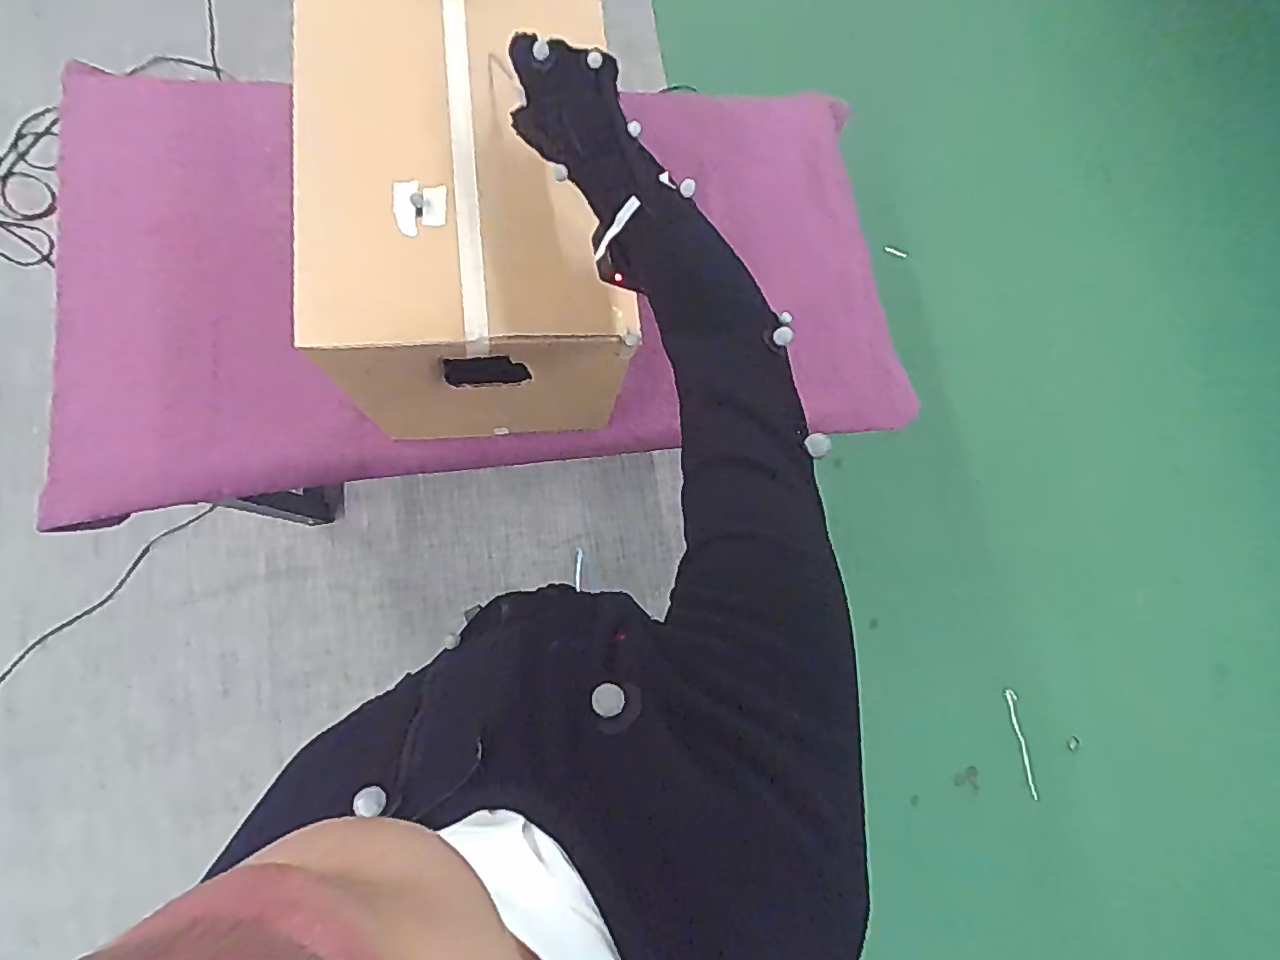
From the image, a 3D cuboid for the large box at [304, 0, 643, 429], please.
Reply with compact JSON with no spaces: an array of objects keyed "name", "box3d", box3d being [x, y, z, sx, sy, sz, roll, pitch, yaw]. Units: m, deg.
[{"name":"large box","box3d":[-0.197,-0.303,0.694,0.320,0.320,0.408,-4,81,-11]}]
